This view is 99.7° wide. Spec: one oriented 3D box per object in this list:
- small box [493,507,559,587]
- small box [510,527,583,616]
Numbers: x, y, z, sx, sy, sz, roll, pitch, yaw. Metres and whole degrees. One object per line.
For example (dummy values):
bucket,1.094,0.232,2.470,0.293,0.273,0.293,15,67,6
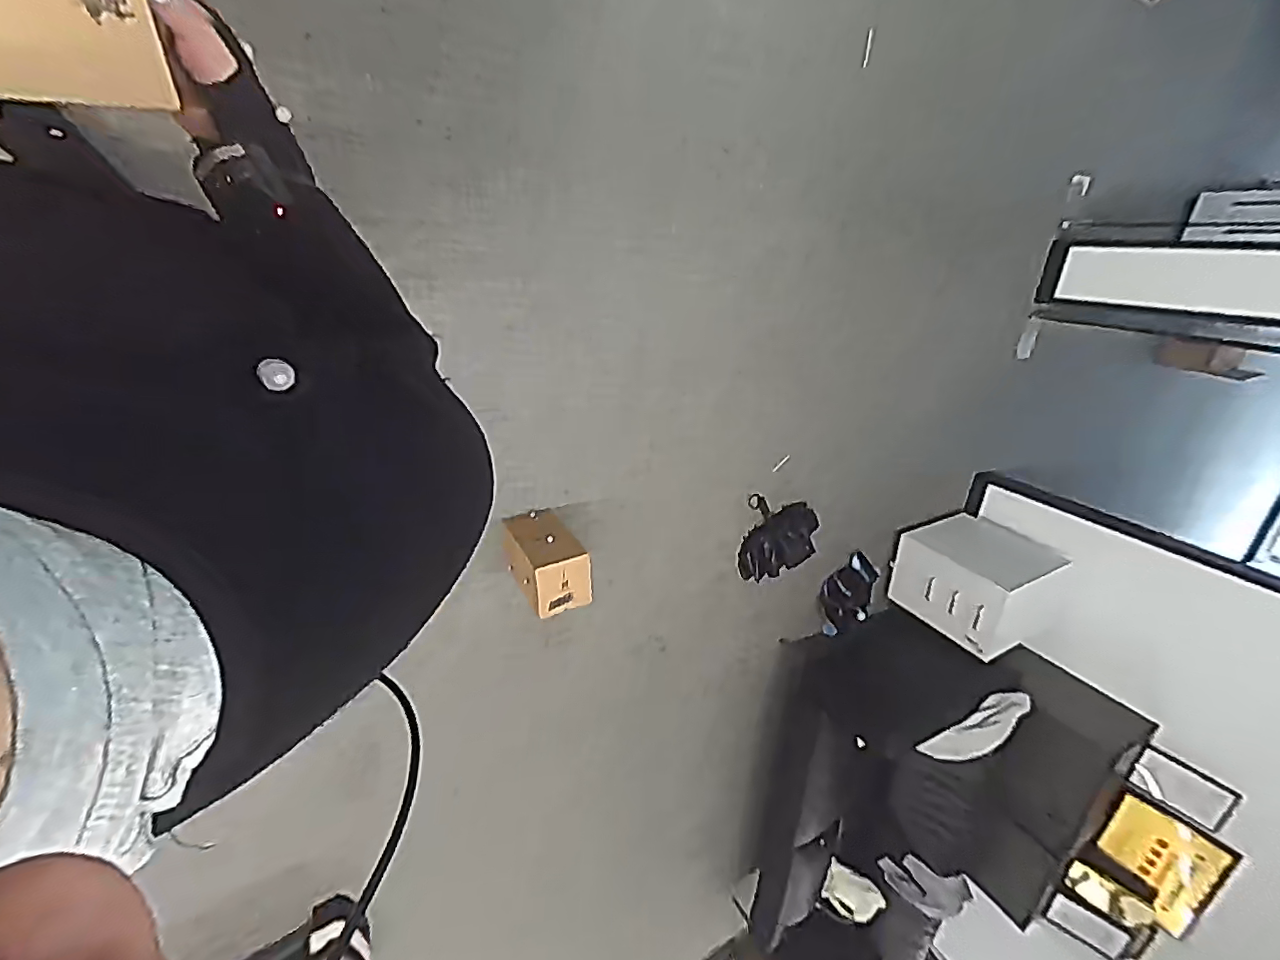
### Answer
small box,-0.363,0.211,1.741,0.168,0.176,0.179,-14,118,-28
small box,-0.279,0.267,1.610,0.168,0.176,0.179,-14,119,-27
